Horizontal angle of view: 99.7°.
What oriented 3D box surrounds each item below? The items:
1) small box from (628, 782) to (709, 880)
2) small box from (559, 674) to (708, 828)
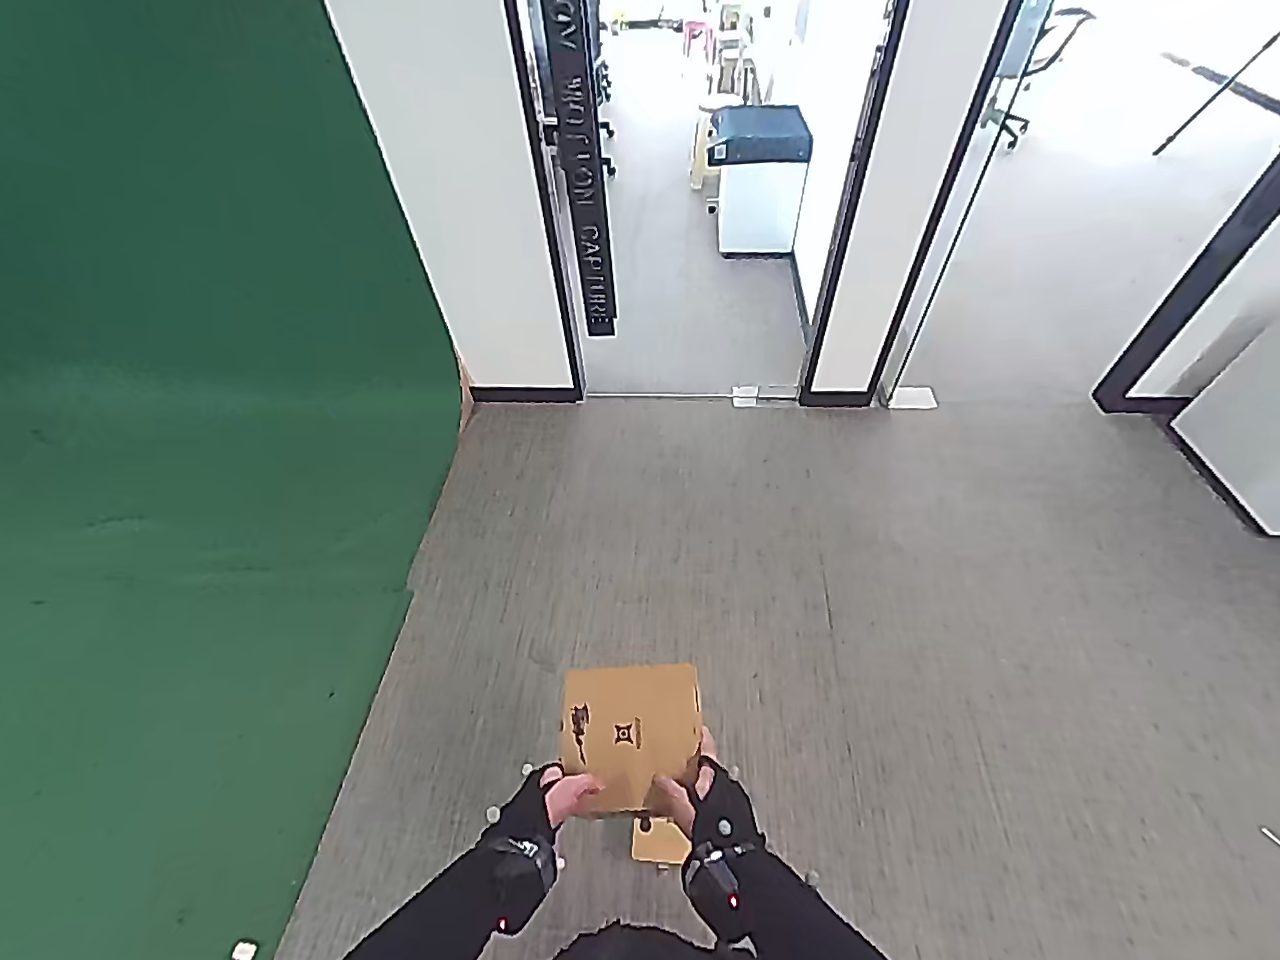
[{"bbox_3d":[0.070,0.801,1.249,0.168,0.176,0.179,3,50,8],"label":"small box"},{"bbox_3d":[-0.002,0.371,0.736,0.179,0.176,0.168,-4,55,4],"label":"small box"}]
